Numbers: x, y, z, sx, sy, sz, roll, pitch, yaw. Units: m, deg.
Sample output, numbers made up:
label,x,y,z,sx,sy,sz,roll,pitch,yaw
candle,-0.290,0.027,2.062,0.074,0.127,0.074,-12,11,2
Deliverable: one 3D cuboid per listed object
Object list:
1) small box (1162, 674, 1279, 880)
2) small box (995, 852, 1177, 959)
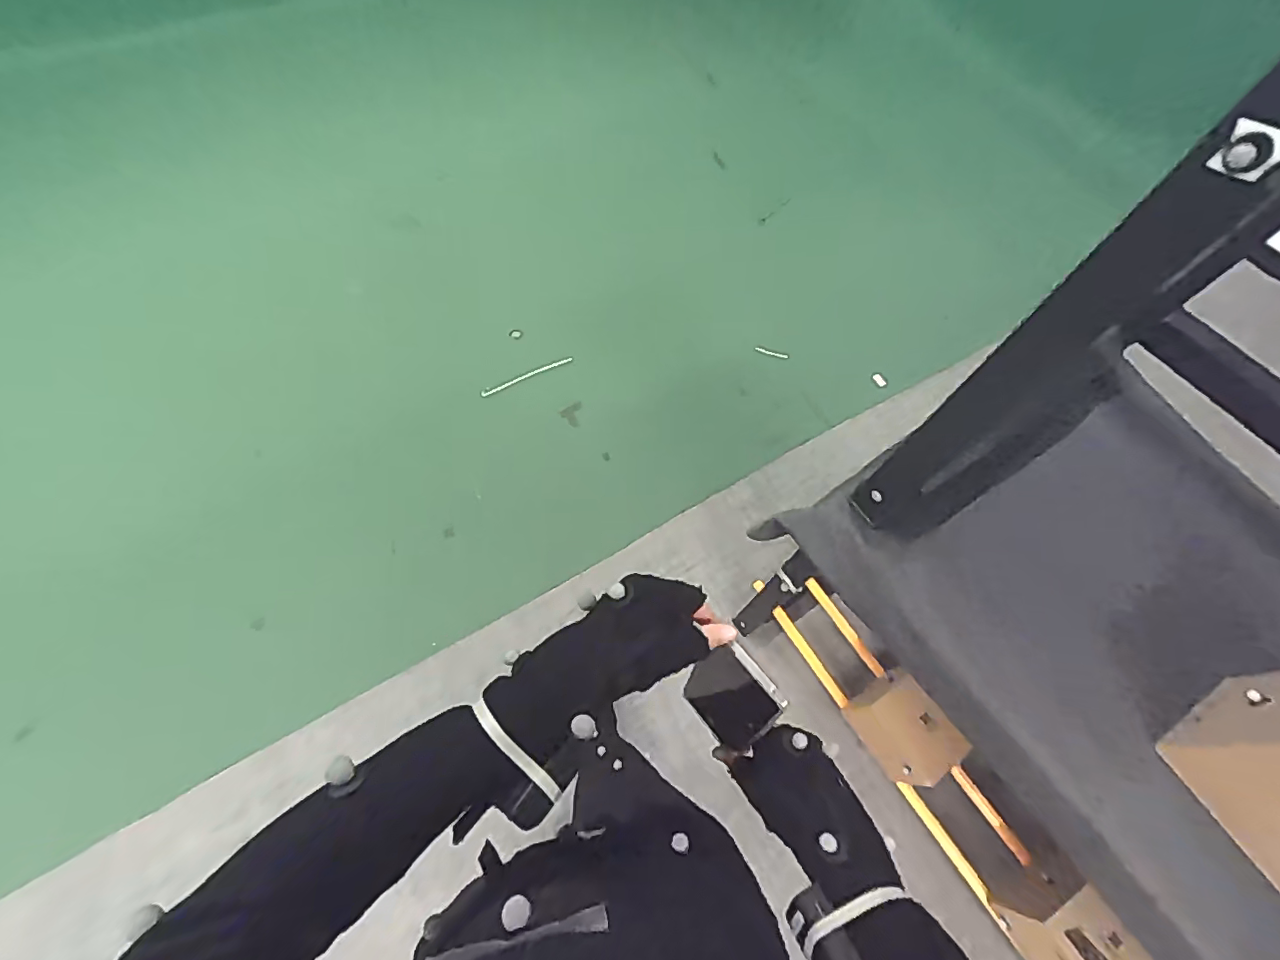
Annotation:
label,x,y,z,sx,sy,sz,roll,pitch,yaw
small box,0.742,0.318,0.579,0.168,0.176,0.179,-26,68,-16
small box,0.817,0.843,1.017,0.179,0.176,0.168,-25,68,-16
